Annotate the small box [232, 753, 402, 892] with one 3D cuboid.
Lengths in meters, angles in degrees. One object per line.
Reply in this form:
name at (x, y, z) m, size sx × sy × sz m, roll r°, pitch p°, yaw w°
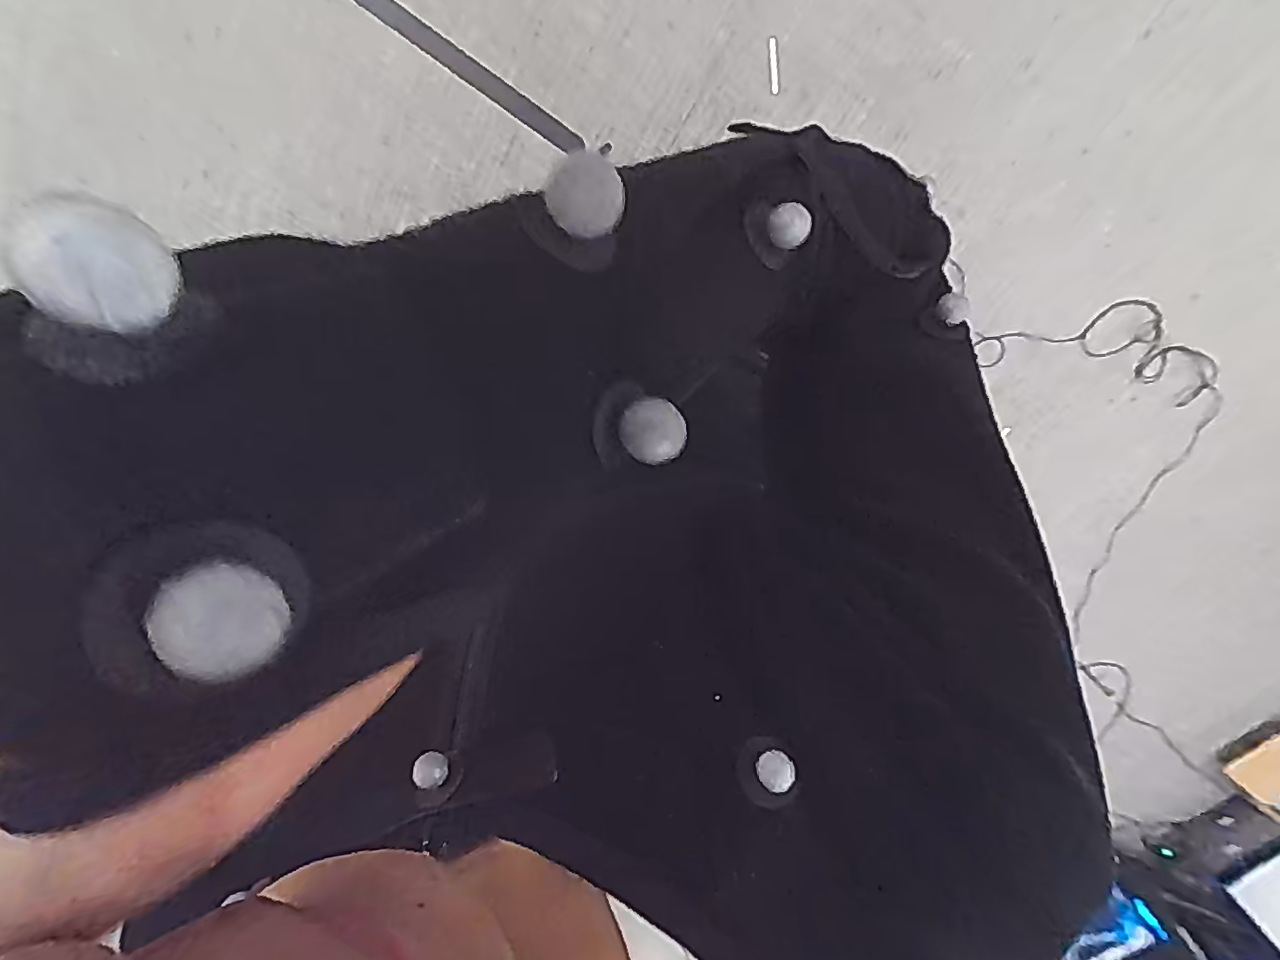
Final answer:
small box at (-0.536, 0.601, 0.918) m, size 0.179 × 0.176 × 0.168 m, roll 27°, pitch 113°, yaw -12°
